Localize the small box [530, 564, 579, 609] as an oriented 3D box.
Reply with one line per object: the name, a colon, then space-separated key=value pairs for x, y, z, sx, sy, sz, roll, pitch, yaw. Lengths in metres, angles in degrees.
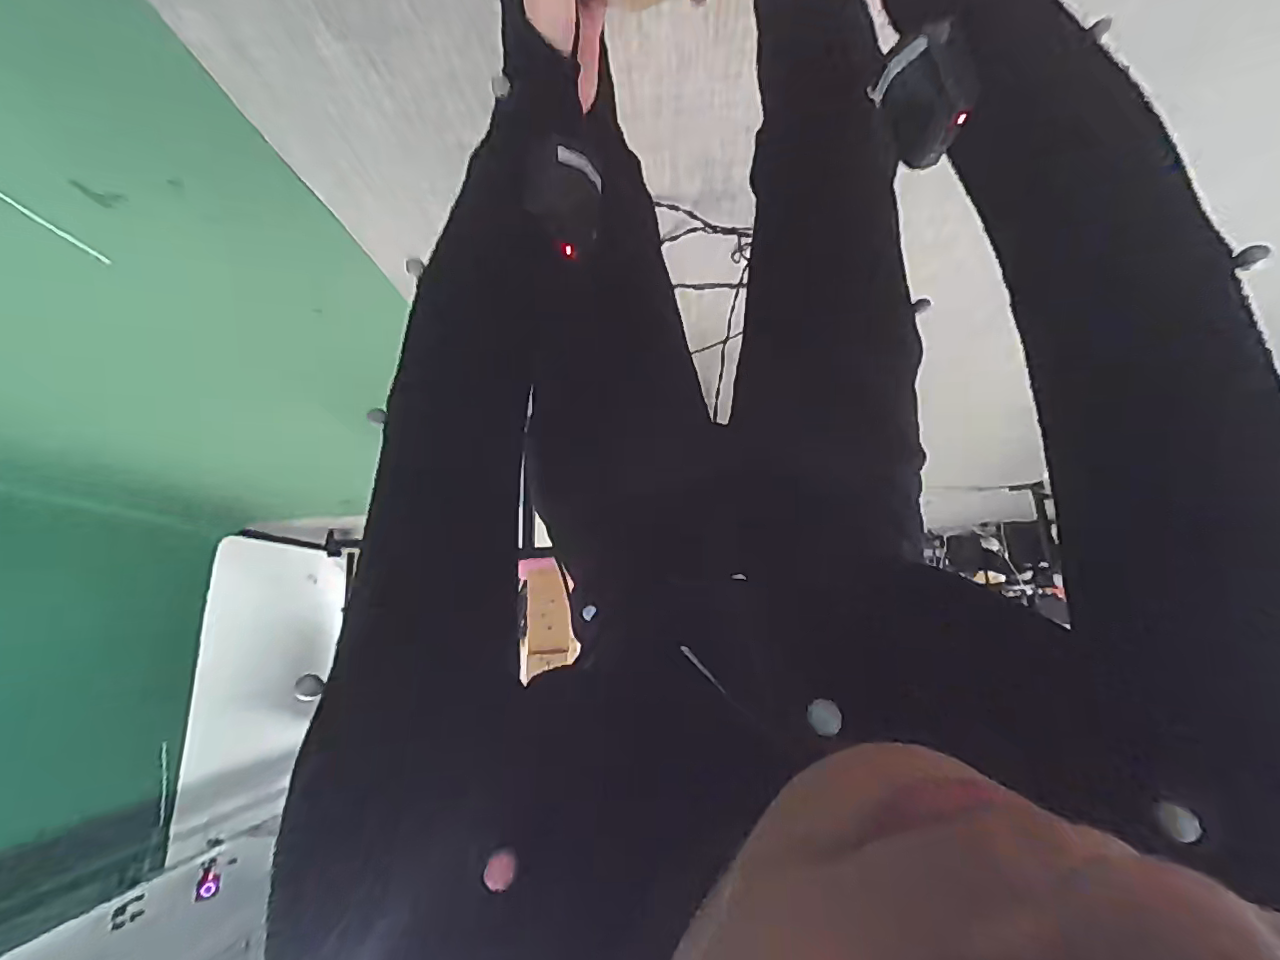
small box: x=-0.347 y=0.435 z=2.215 sx=0.168 sy=0.176 sz=0.179 roll=-5 pitch=167 yaw=5

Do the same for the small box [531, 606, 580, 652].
small box: x=-0.340 y=0.596 z=2.178 sx=0.168 sy=0.176 sz=0.179 roll=-3 pitch=167 yaw=3
